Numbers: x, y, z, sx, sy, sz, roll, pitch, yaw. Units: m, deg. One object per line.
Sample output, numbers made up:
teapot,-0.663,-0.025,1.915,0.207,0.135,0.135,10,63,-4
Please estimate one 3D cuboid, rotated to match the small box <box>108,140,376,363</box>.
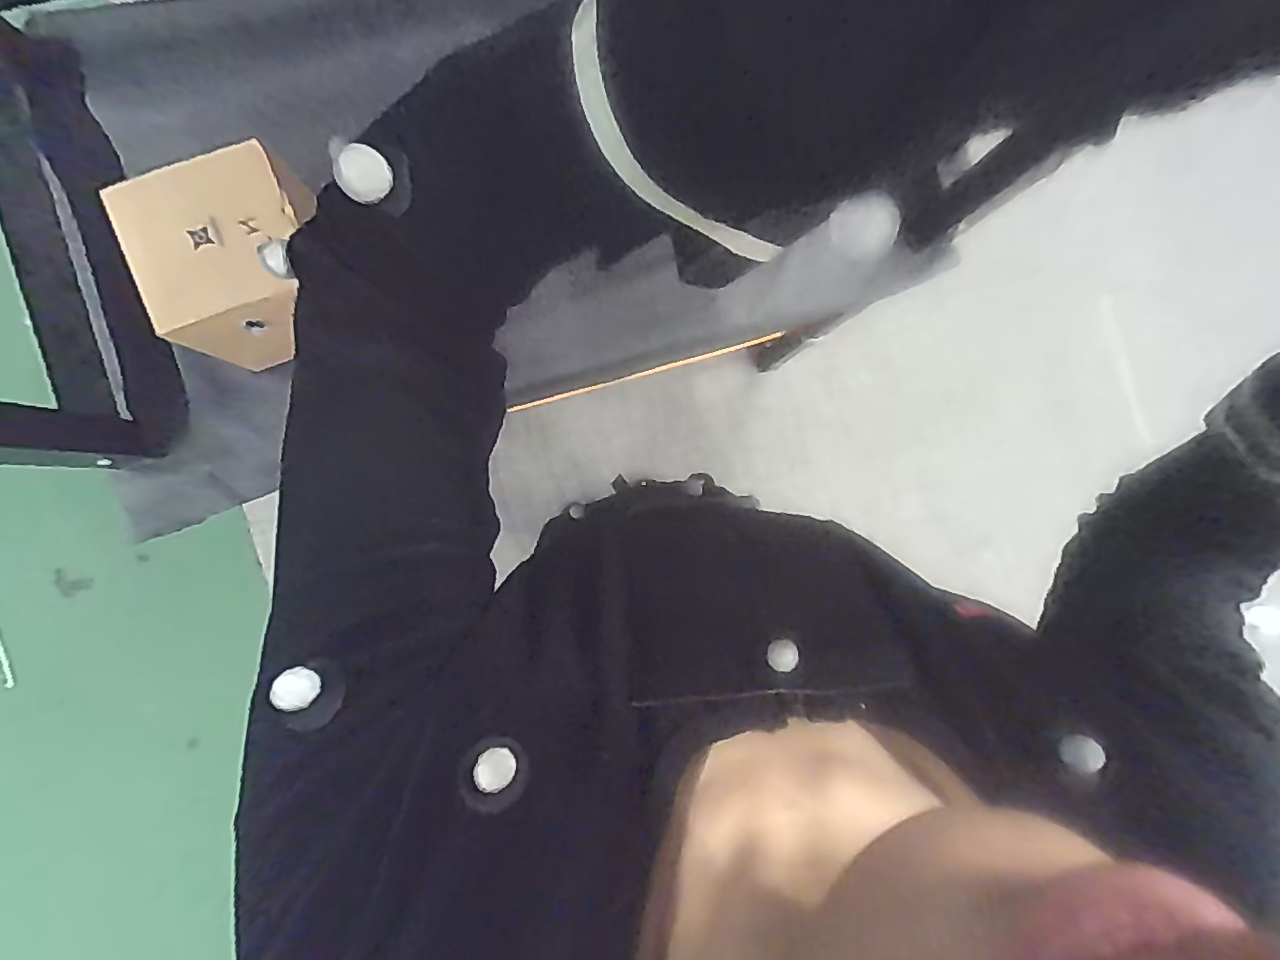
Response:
small box,-0.460,-0.259,0.656,0.179,0.176,0.168,-21,91,-5
